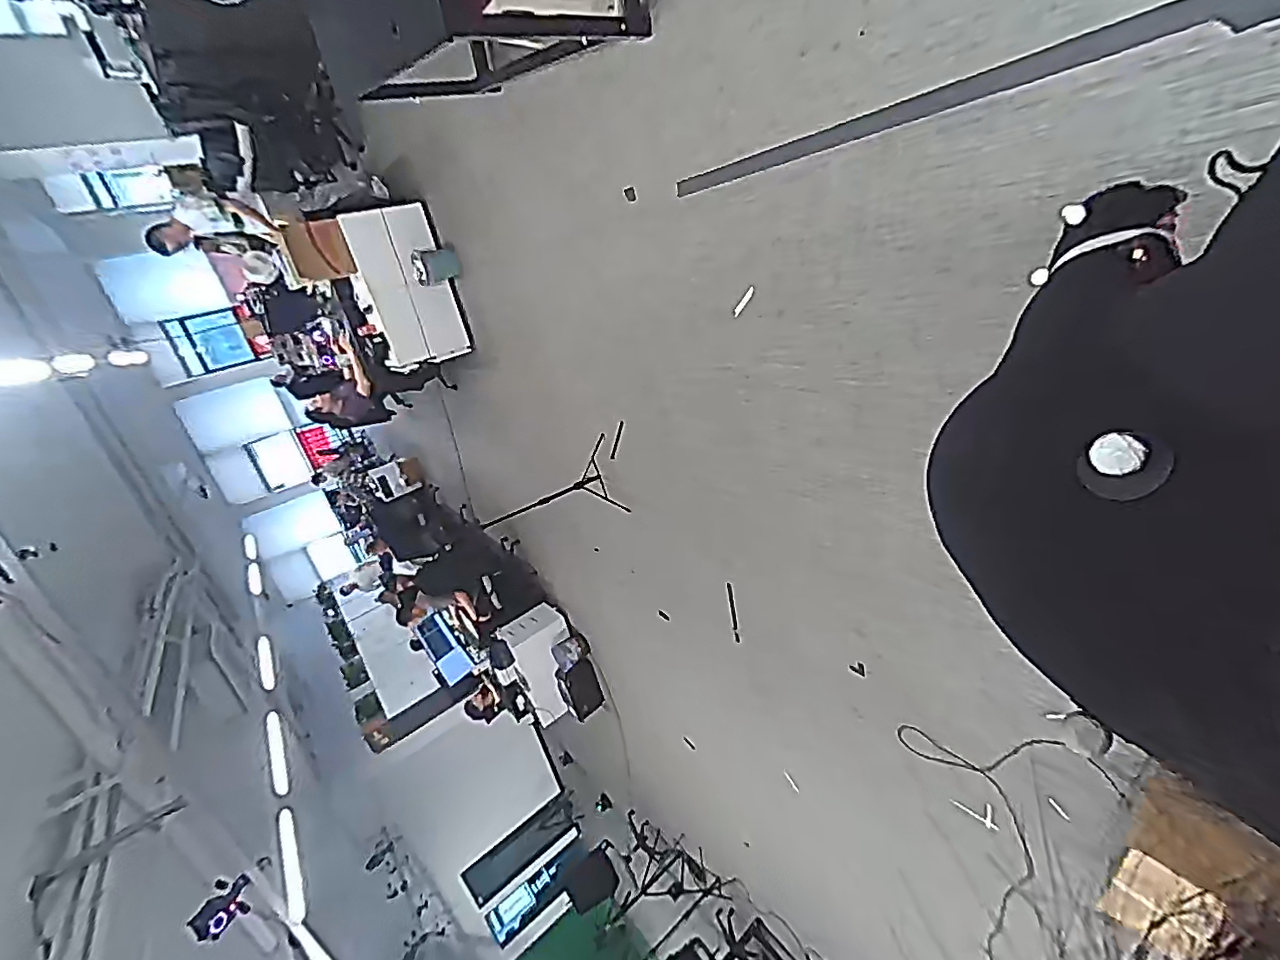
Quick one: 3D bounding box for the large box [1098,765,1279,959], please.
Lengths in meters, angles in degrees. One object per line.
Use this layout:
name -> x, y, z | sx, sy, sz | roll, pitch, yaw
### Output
large box -> 1.466, 1.021, 1.335 | 0.408, 0.320, 0.320 | 25, 134, 45
